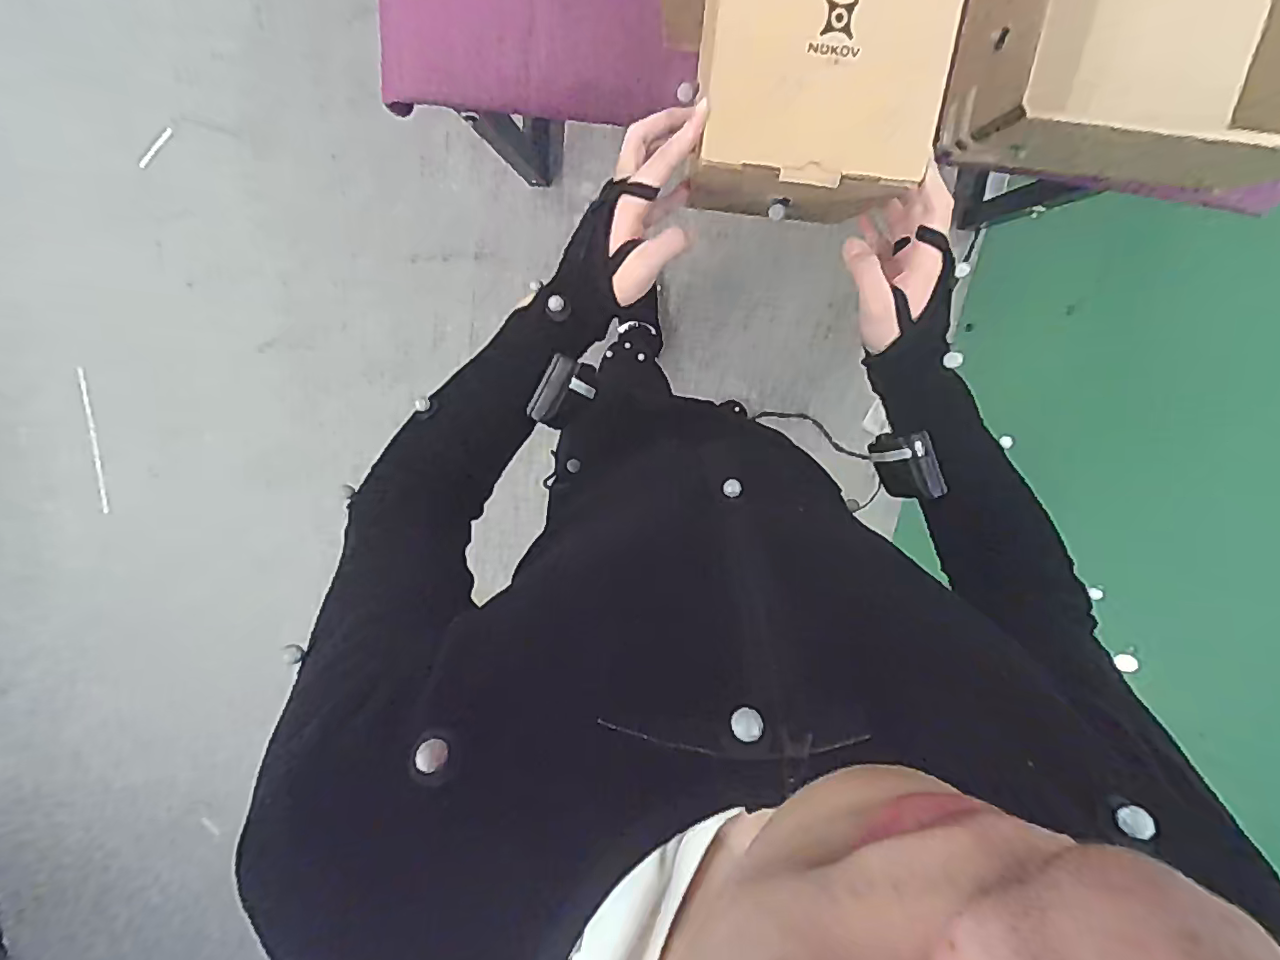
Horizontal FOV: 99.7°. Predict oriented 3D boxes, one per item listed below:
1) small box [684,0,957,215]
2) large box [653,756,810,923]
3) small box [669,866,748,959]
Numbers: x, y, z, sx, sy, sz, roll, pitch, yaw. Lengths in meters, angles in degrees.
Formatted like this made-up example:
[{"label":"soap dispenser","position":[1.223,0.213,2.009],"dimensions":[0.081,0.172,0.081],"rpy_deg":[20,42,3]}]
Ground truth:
[{"label":"small box","position":[0.130,-0.330,0.445],"dimensions":[0.168,0.176,0.179],"rpy_deg":[6,107,-2]},{"label":"large box","position":[0.285,1.204,1.794],"dimensions":[0.408,0.320,0.320],"rpy_deg":[-25,104,8]},{"label":"small box","position":[0.195,1.270,1.559],"dimensions":[0.179,0.176,0.168],"rpy_deg":[-25,102,9]}]
